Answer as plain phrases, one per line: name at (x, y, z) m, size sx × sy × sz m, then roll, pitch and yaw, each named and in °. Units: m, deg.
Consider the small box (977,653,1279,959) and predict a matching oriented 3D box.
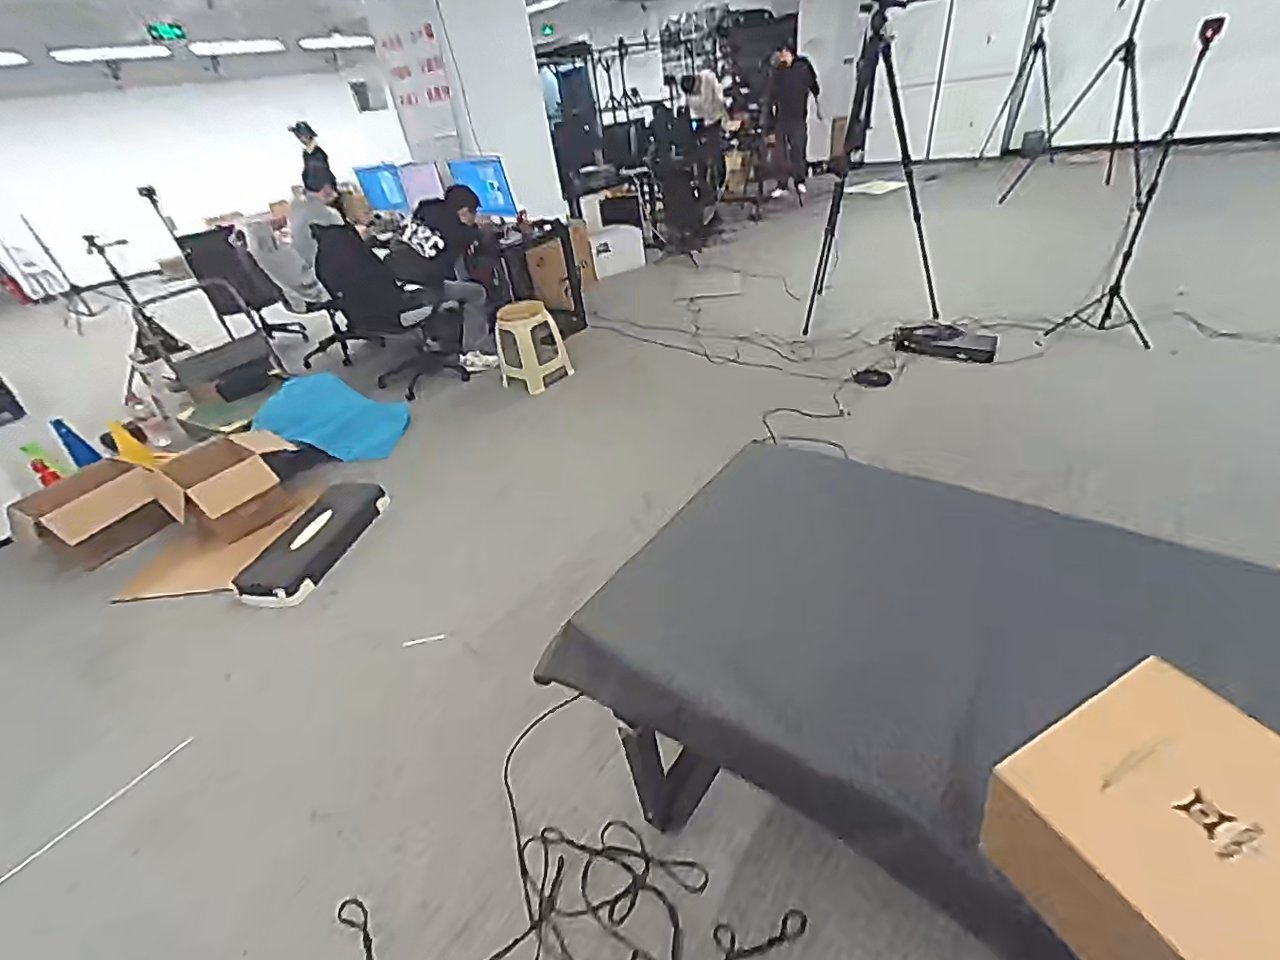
small box at (0.389, 0.275, 0.403) m, size 0.168 × 0.176 × 0.179 m, roll -29°, pitch 36°, yaw -10°
